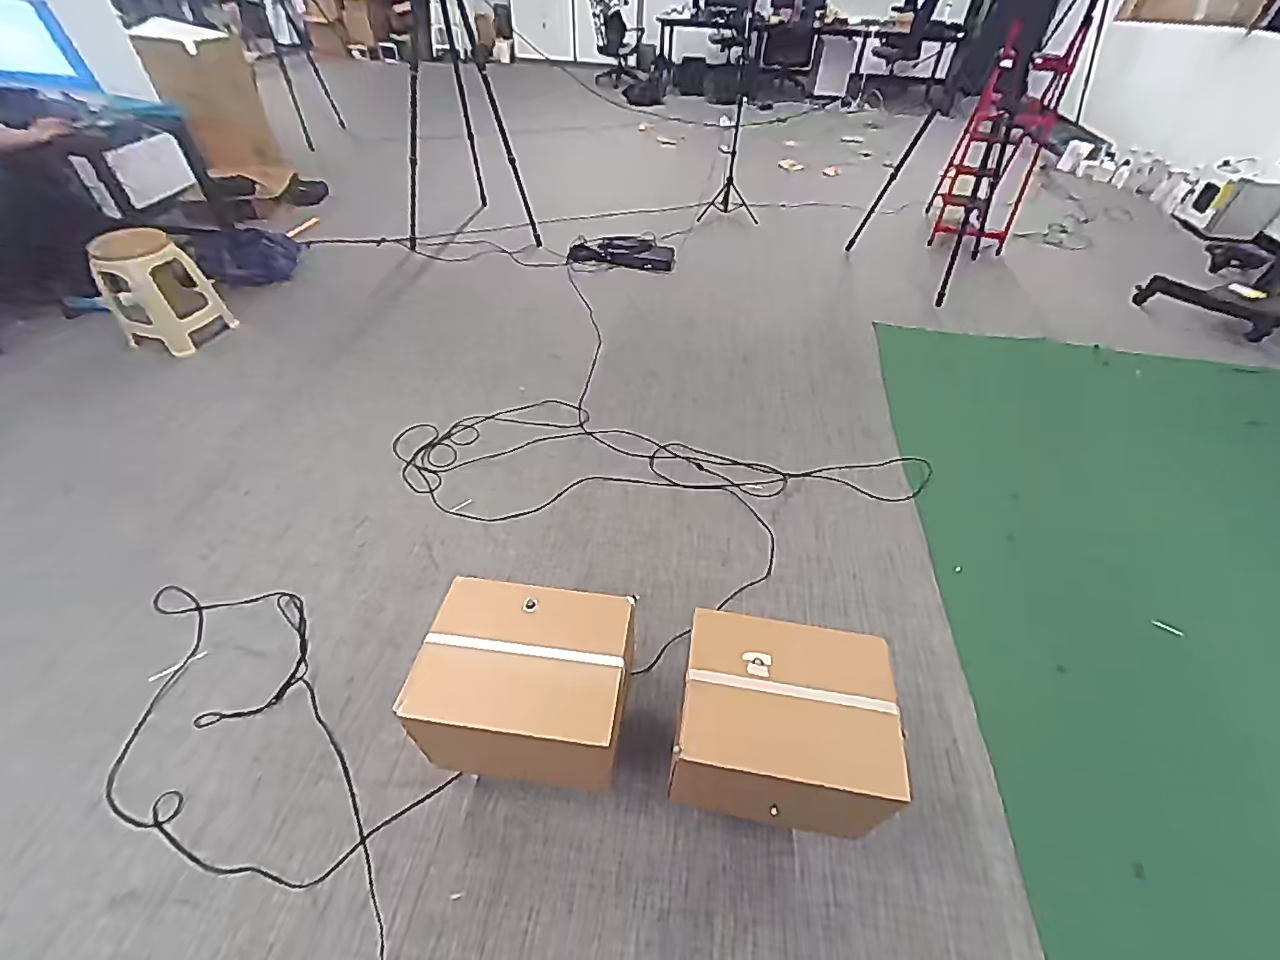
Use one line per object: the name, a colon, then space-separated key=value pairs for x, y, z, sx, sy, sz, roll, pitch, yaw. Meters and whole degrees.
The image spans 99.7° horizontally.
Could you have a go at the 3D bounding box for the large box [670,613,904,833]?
large box: x=0.288 y=0.524 z=1.166 sx=0.408 sy=0.320 sz=0.320 roll=8 pitch=46 yaw=6
